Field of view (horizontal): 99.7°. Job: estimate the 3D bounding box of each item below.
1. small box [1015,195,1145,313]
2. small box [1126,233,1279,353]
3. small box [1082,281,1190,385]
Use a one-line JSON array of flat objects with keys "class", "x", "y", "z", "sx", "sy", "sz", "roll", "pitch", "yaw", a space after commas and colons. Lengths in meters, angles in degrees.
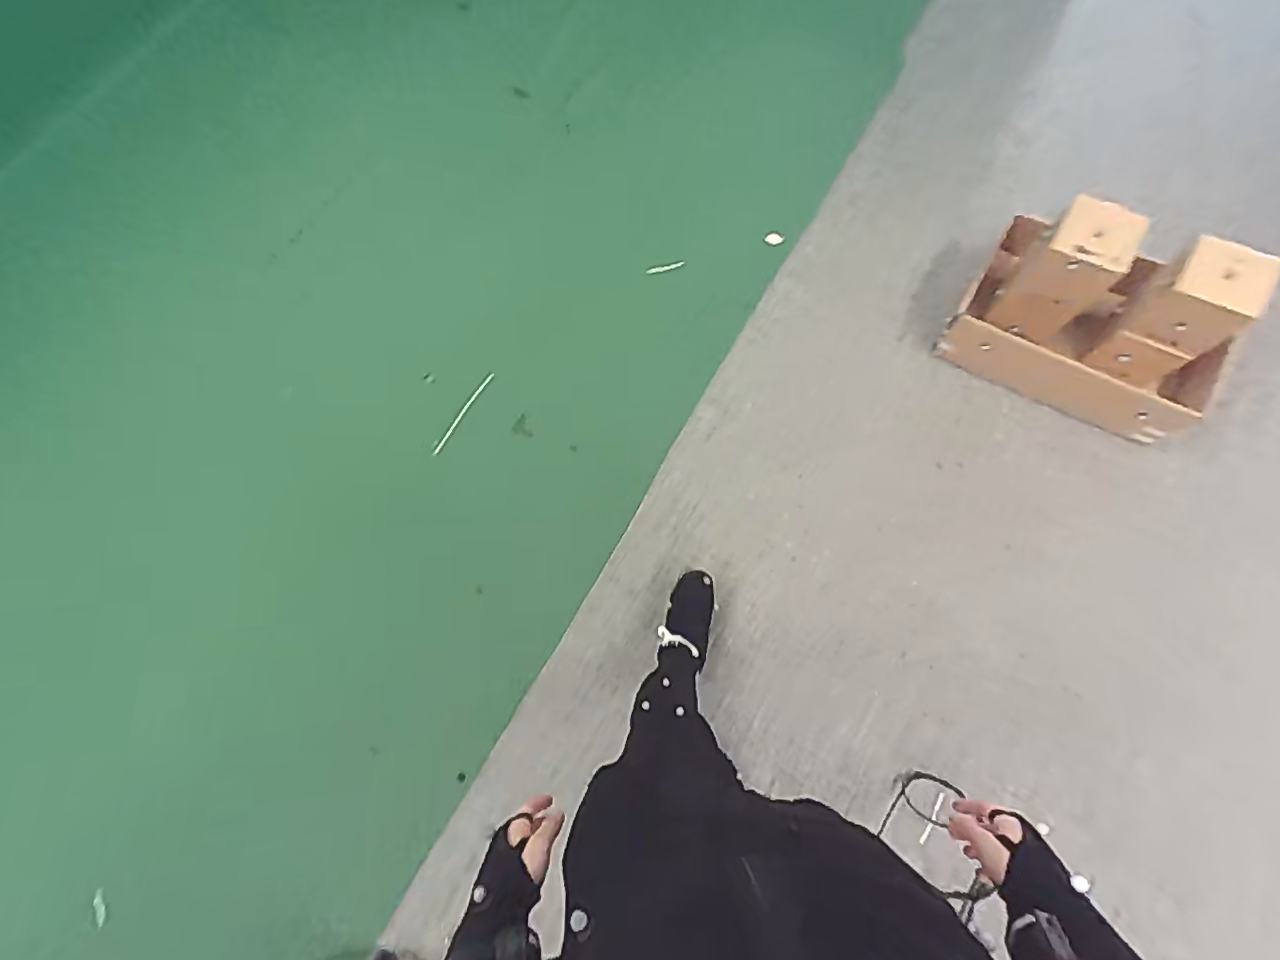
[{"class": "small box", "x": 1.074, "y": -0.553, "z": 1.336, "sx": 0.168, "sy": 0.176, "sz": 0.179, "roll": 29, "pitch": 78, "yaw": 14}, {"class": "small box", "x": 1.308, "y": -0.431, "z": 1.273, "sx": 0.168, "sy": 0.176, "sz": 0.179, "roll": 31, "pitch": 78, "yaw": 15}, {"class": "small box", "x": 1.326, "y": -0.380, "z": 1.429, "sx": 0.168, "sy": 0.176, "sz": 0.179, "roll": 30, "pitch": 79, "yaw": 15}]
